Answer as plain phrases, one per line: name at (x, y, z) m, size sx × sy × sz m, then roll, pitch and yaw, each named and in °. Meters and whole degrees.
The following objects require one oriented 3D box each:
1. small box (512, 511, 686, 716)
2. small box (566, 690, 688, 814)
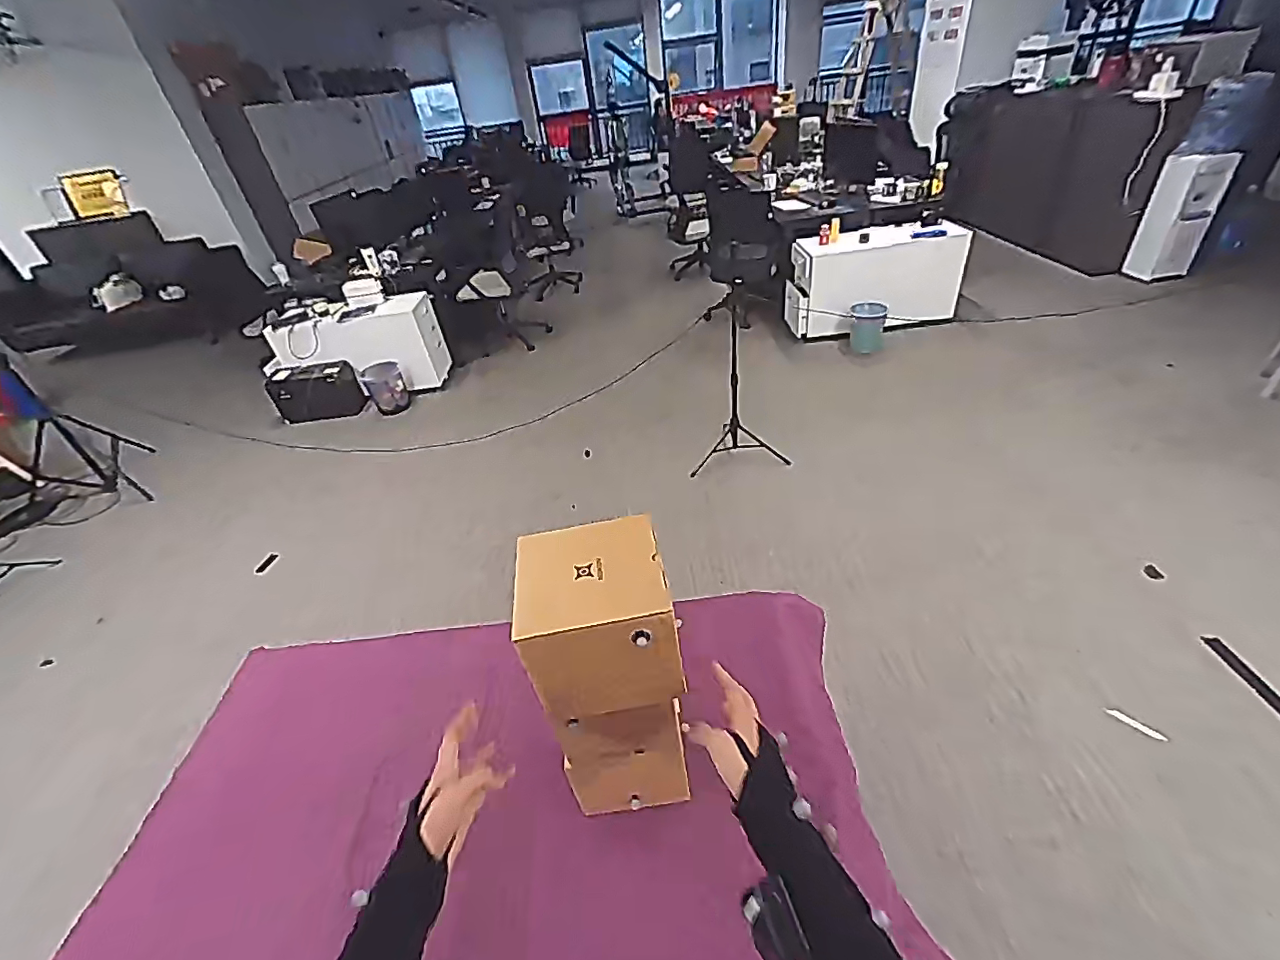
small box at (-0.047, 0.166, 0.672) m, size 0.179 × 0.176 × 0.168 m, roll -10°, pitch 36°, yaw -2°
small box at (-0.018, 0.416, 0.883) m, size 0.179 × 0.176 × 0.168 m, roll -8°, pitch 36°, yaw 0°
